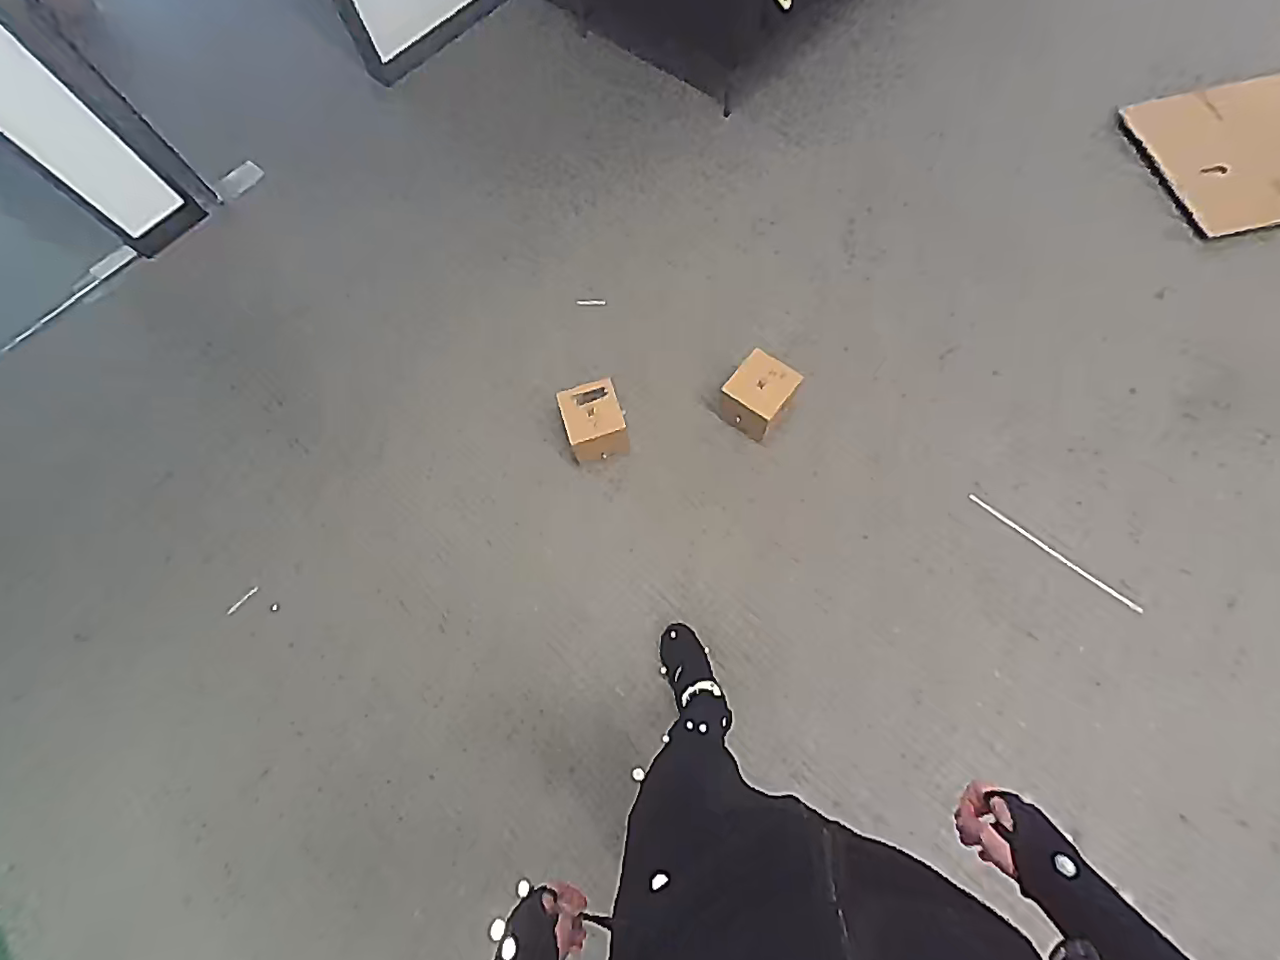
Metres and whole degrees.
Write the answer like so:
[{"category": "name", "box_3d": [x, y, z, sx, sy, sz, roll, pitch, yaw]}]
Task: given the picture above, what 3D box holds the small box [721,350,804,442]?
[{"category": "small box", "box_3d": [0.354, -0.241, 1.598, 0.168, 0.176, 0.179, 37, 76, 16]}]
